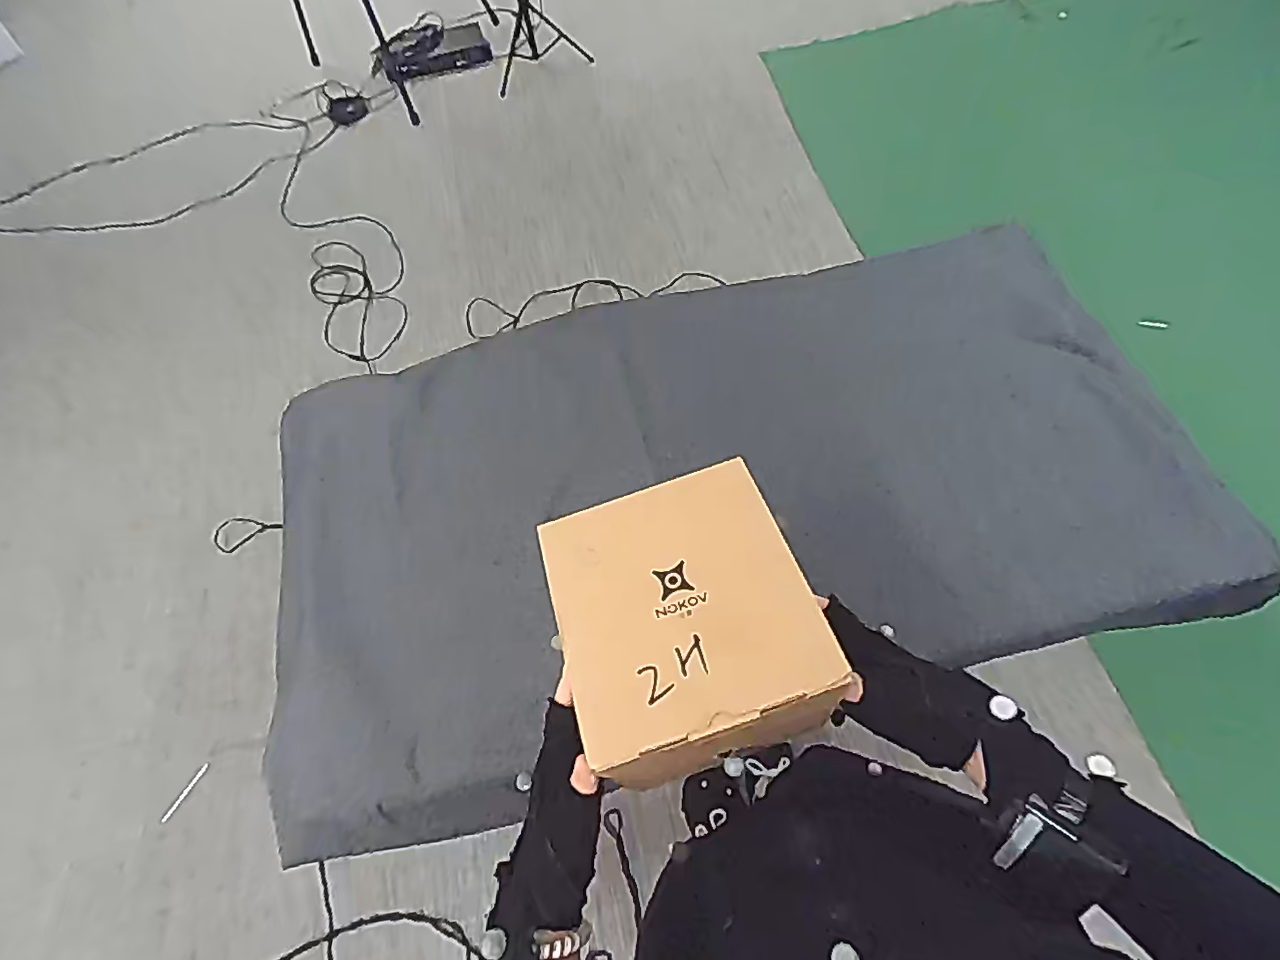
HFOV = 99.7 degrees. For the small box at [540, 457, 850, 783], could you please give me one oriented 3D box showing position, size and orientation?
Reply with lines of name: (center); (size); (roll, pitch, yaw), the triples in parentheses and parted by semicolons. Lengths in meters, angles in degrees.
small box: (0.036, 0.116, 0.426); (0.168, 0.176, 0.179); (-19, 56, -1)
